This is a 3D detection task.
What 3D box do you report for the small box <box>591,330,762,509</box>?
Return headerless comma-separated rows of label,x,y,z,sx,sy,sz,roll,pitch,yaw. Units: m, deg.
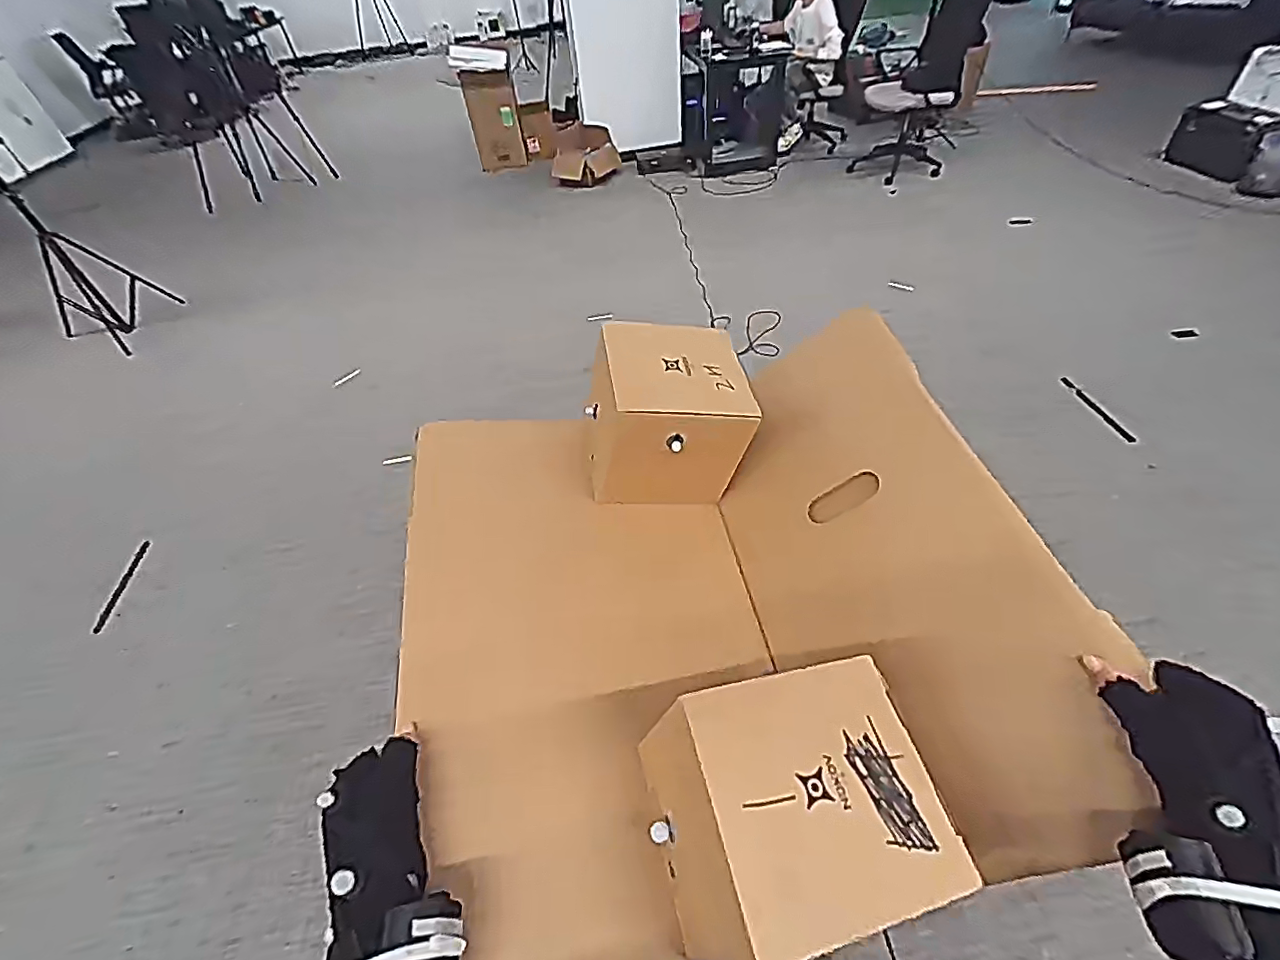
small box,0.032,-0.074,0.714,0.179,0.176,0.168,1,51,-15
